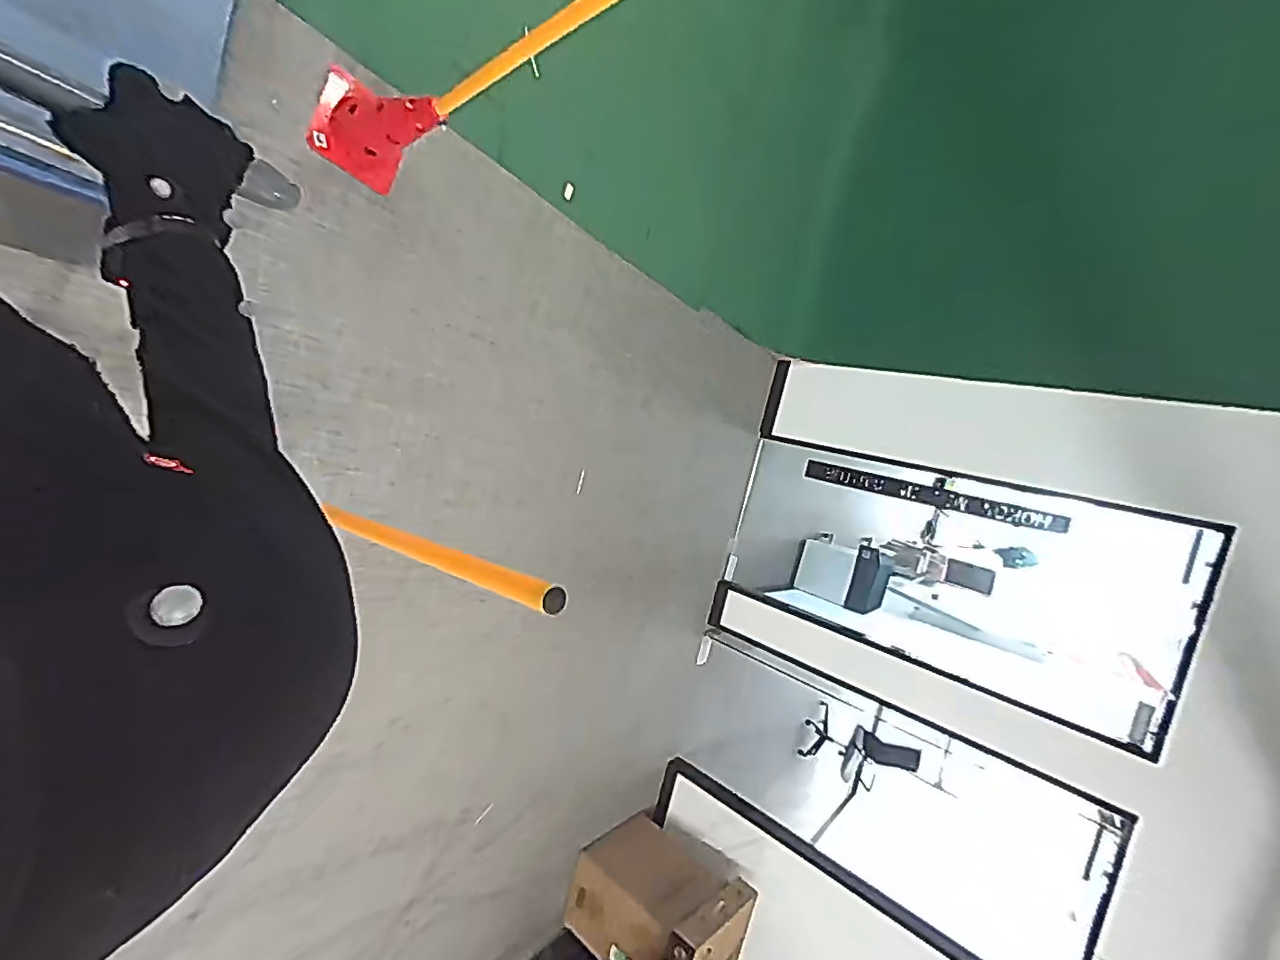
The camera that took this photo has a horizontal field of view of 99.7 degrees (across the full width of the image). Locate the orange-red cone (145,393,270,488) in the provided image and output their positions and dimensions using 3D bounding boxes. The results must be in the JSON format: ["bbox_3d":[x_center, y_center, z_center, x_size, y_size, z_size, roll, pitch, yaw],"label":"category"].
[{"bbox_3d":[-0.854,-0.044,1.126,0.199,0.360,0.198,12,94,-52],"label":"orange-red cone"}]
